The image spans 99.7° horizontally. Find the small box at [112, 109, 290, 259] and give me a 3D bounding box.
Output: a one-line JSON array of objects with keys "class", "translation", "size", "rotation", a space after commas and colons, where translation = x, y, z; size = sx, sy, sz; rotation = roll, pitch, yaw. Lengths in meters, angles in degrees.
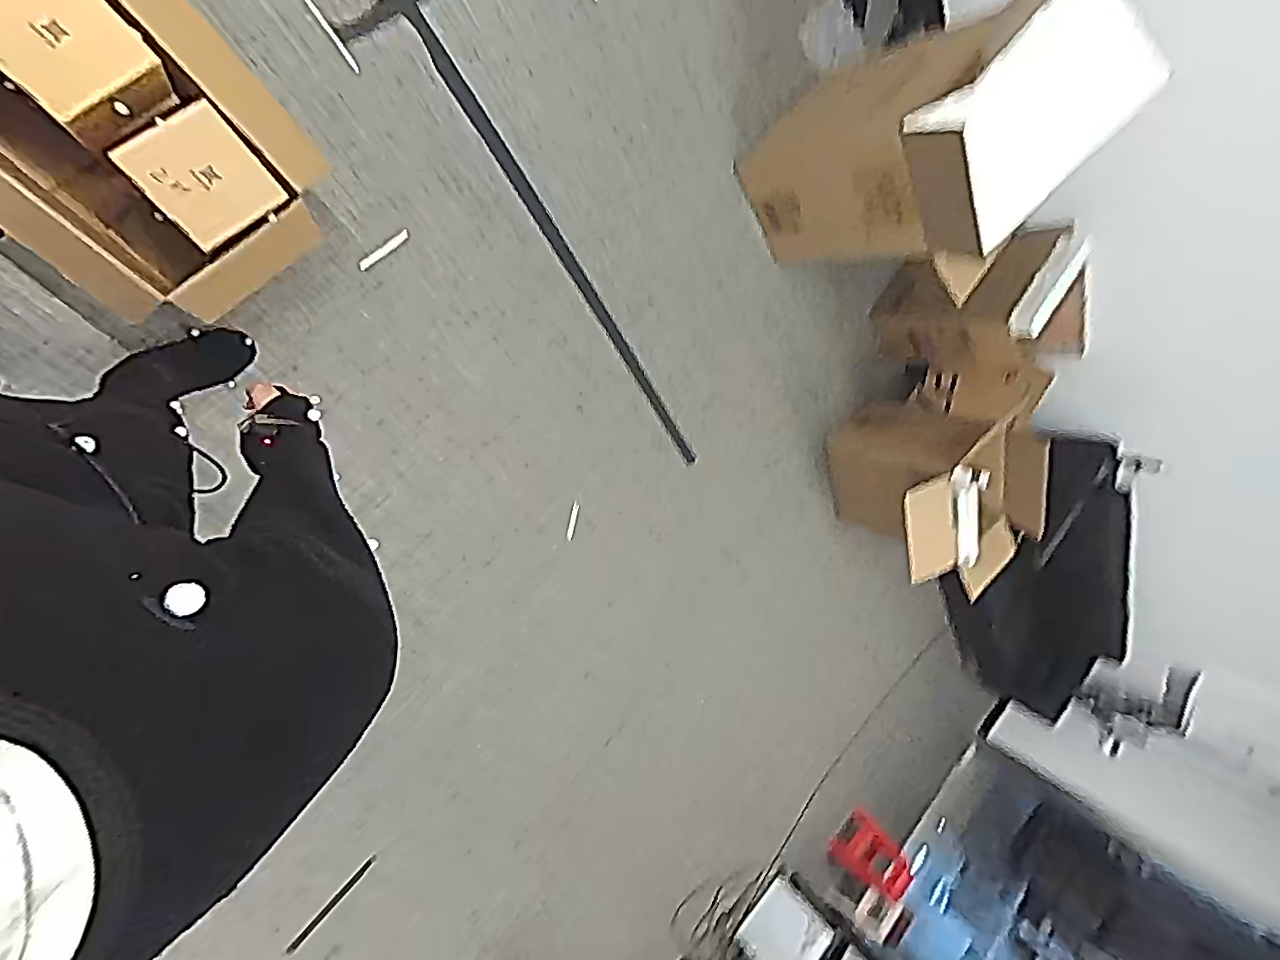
[{"class": "small box", "translation": [-0.770, -0.517, 0.964], "size": [0.179, 0.176, 0.168], "rotation": [-44, 126, -15]}]
